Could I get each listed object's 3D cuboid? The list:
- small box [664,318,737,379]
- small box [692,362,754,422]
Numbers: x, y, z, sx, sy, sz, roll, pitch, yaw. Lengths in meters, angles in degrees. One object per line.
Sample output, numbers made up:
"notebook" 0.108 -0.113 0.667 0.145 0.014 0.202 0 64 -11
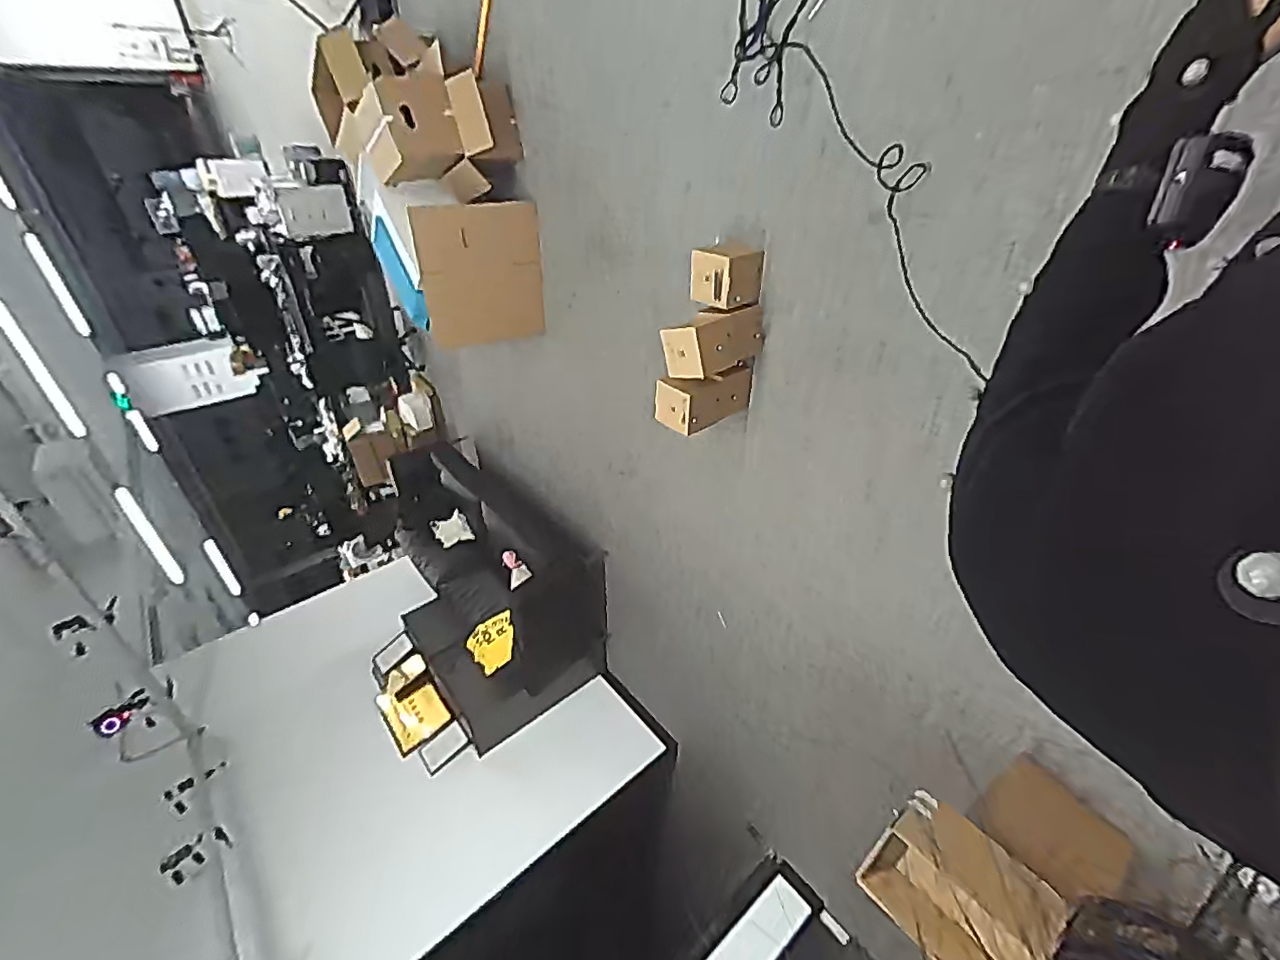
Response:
"small box" 0.211 -0.446 1.826 0.179 0.176 0.168 16 124 52
"small box" 0.316 -0.349 2.050 0.168 0.176 0.179 34 138 40
